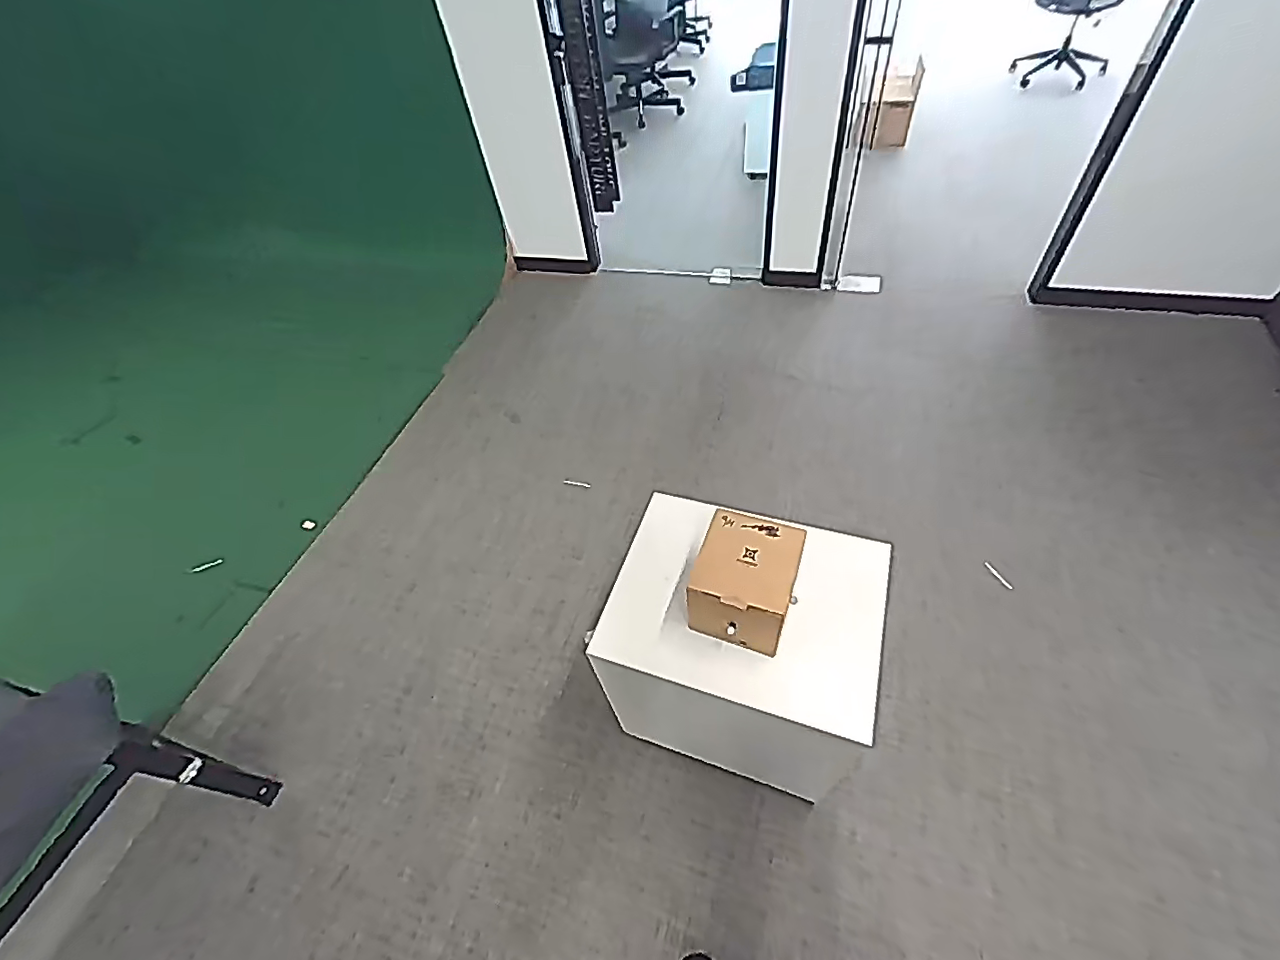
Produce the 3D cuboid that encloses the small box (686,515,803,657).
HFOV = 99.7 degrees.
[{"bbox_3d":[0.191,0.195,0.982,0.168,0.176,0.179,12,52,17],"label":"small box"}]
